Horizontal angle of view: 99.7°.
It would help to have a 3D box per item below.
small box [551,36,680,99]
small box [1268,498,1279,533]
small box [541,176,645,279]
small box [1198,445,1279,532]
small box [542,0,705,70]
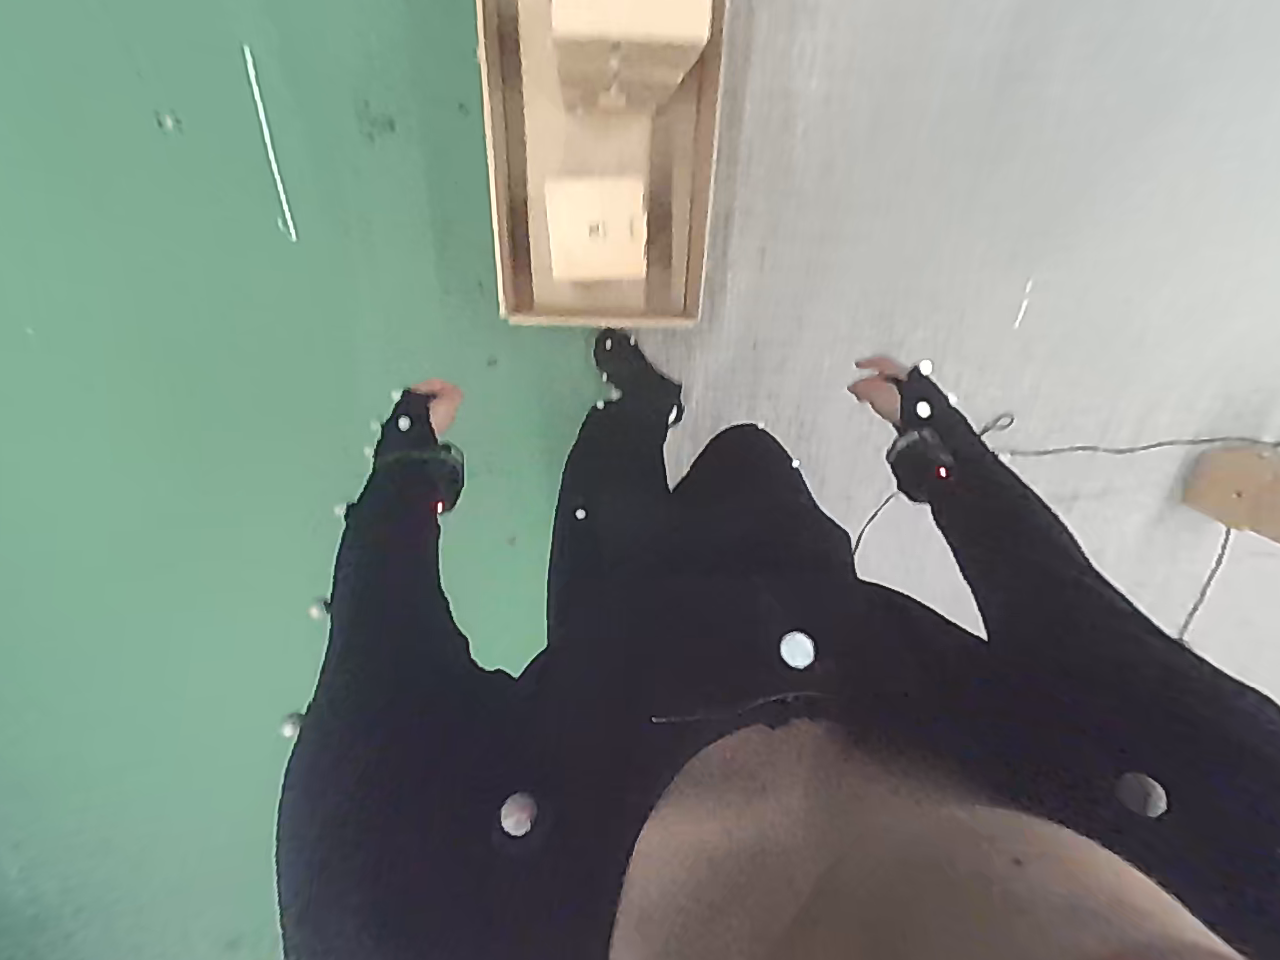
[{"bbox_3d":[-0.035,-0.664,0.772,0.179,0.176,0.168,0,116,-7],"label":"small box"},{"bbox_3d":[1.700,0.078,1.300,0.168,0.176,0.179,-6,114,-2],"label":"small box"},{"bbox_3d":[-0.086,-0.476,1.034,0.179,0.176,0.168,-5,114,-4],"label":"small box"},{"bbox_3d":[1.672,0.014,1.449,0.168,0.176,0.179,-9,115,1],"label":"small box"},{"bbox_3d":[-0.020,-0.595,0.624,0.179,0.176,0.168,-2,116,-4],"label":"small box"}]
